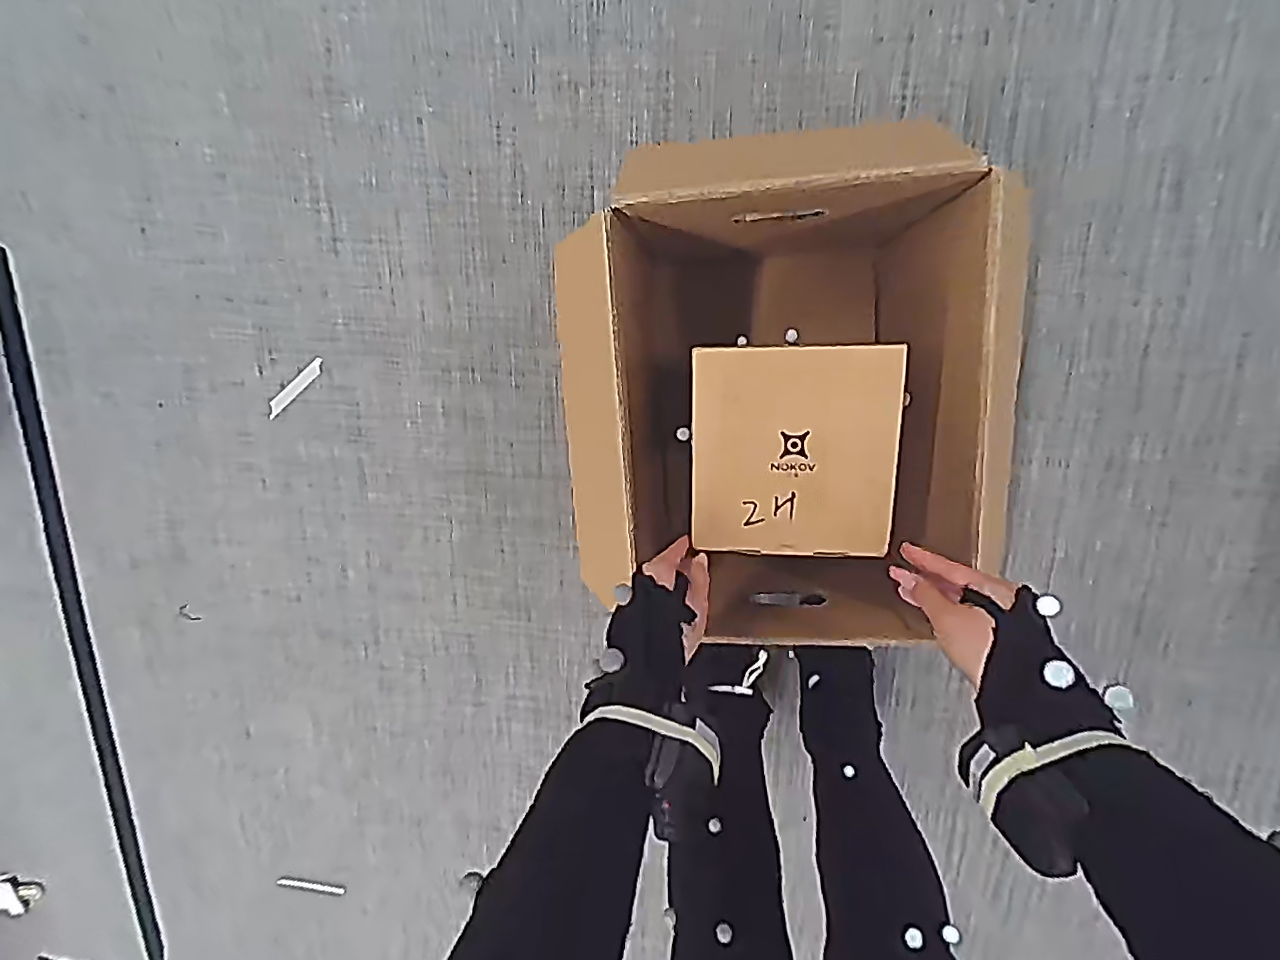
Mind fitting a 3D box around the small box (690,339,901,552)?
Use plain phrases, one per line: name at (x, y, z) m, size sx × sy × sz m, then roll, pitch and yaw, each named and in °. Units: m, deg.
small box at (0.135, -0.043, 0.526) m, size 0.168 × 0.176 × 0.179 m, roll 1°, pitch 104°, yaw 8°
